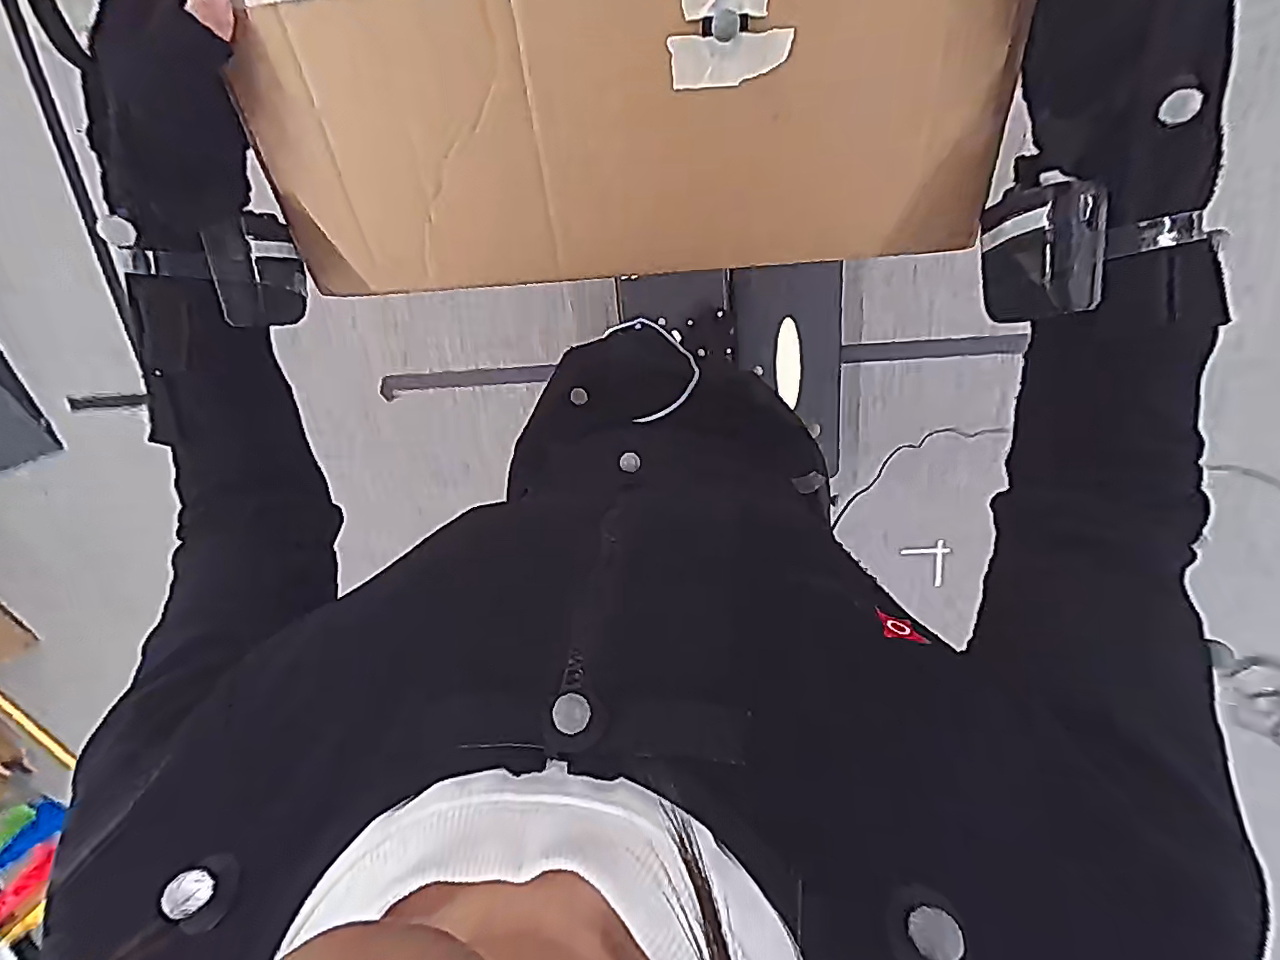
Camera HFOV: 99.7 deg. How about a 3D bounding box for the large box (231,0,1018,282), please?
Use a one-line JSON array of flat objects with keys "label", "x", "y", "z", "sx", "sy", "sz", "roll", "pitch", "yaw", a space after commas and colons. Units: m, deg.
[{"label": "large box", "x": -0.008, "y": -0.351, "z": 0.376, "sx": 0.408, "sy": 0.320, "sz": 0.320, "roll": -1, "pitch": 126, "yaw": 8}]
